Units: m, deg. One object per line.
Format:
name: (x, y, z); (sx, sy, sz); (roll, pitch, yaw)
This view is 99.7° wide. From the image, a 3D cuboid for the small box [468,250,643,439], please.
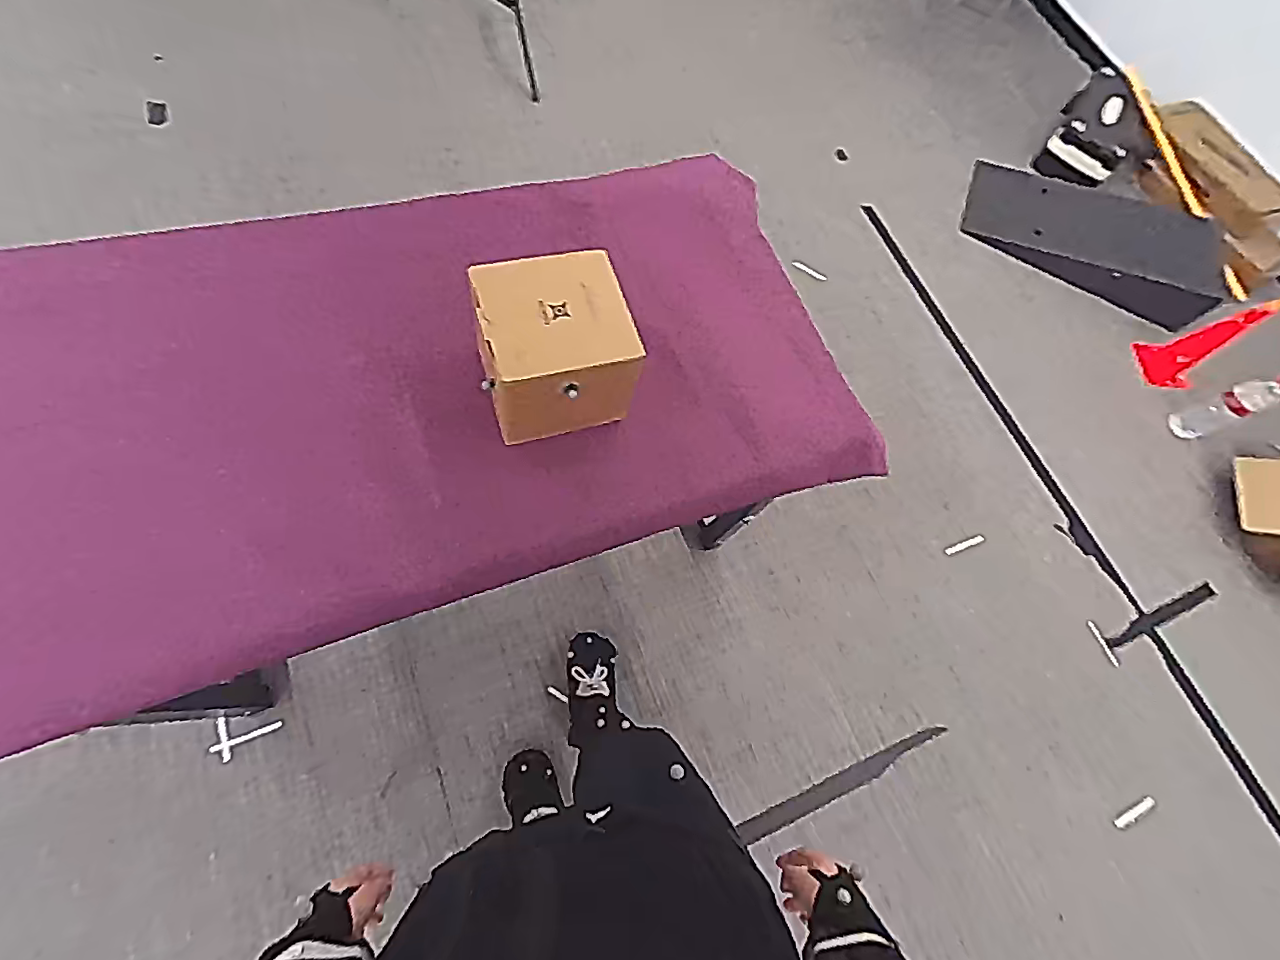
small box: (-0.114, -0.171, 0.718); (0.179, 0.176, 0.168); (-15, 73, -17)
